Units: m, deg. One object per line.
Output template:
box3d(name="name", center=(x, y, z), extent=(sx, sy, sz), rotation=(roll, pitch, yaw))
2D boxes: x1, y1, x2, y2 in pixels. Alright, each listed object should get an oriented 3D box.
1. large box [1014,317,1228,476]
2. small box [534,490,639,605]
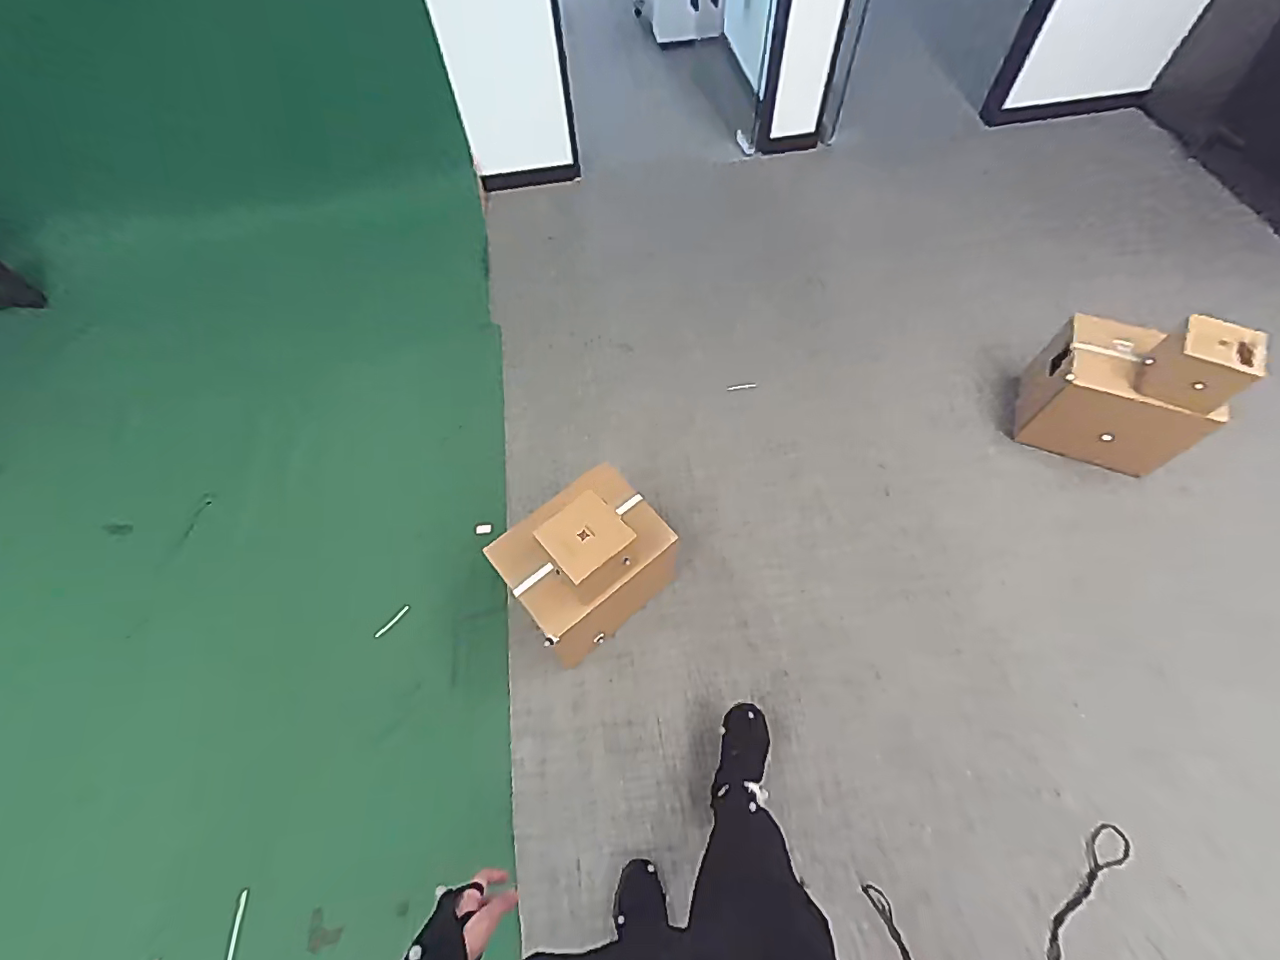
box3d(name="large box", center=(1.496, -0.260, 1.721), extent=(0.408, 0.320, 0.320), rotation=(19, 62, 14))
box3d(name="small box", center=(-0.118, 0.161, 1.261), extent=(0.179, 0.176, 0.168), rotation=(-37, 66, -17))
